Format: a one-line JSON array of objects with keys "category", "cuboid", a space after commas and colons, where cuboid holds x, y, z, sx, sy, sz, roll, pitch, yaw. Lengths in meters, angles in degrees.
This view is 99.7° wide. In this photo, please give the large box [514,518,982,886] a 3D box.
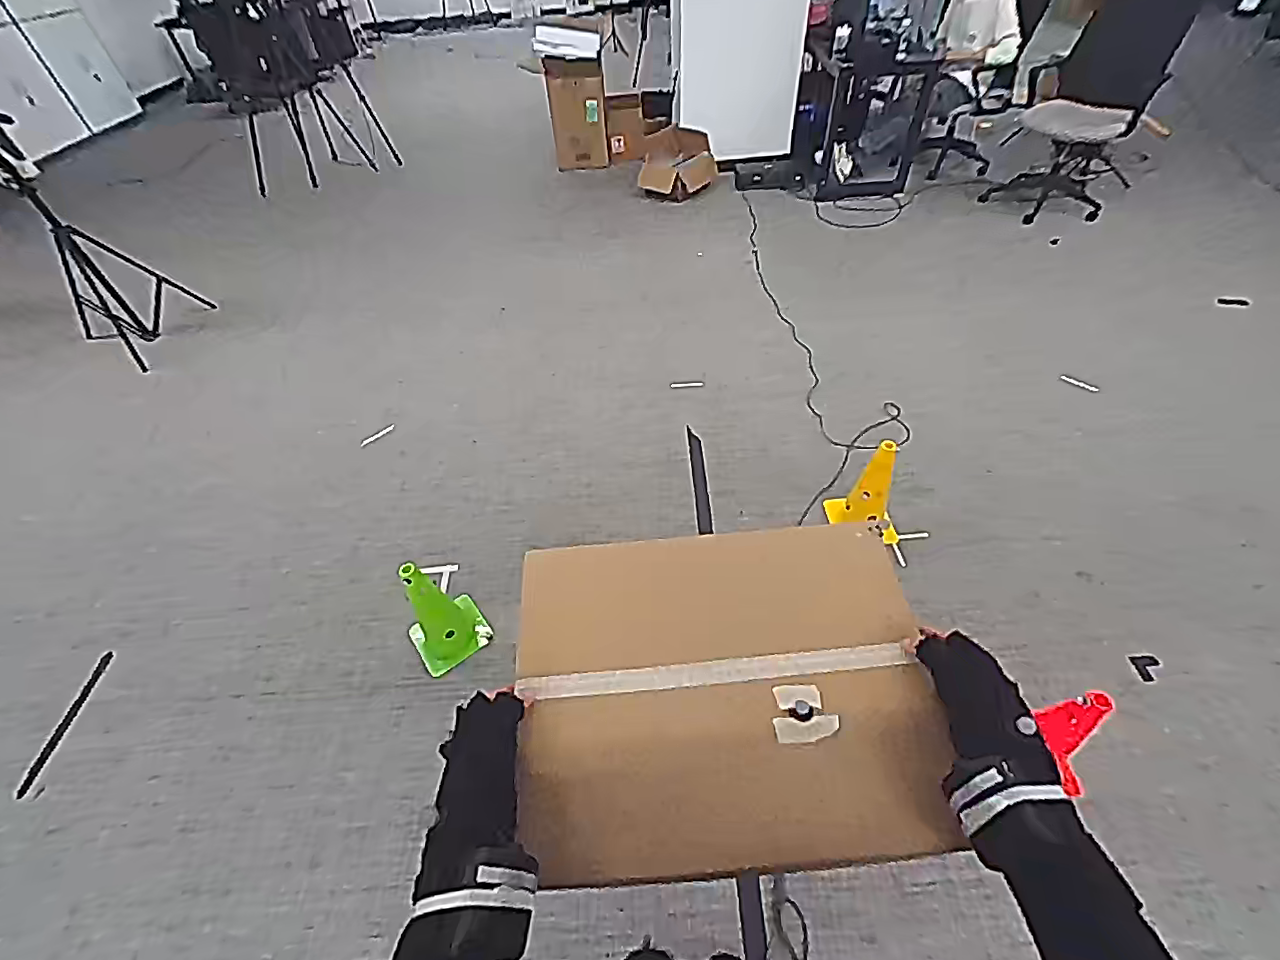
[{"category": "large box", "cuboid": [0.085, 0.276, 0.655, 0.408, 0.320, 0.320, -5, 53, 0]}]

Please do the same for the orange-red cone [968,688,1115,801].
[{"category": "orange-red cone", "cuboid": [0.915, 0.542, 1.182, 0.198, 0.360, 0.199, -5, 46, -1]}]

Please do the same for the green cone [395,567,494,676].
[{"category": "green cone", "cuboid": [-0.578, 0.348, 1.496, 0.202, 0.368, 0.200, -34, 53, -22]}]
